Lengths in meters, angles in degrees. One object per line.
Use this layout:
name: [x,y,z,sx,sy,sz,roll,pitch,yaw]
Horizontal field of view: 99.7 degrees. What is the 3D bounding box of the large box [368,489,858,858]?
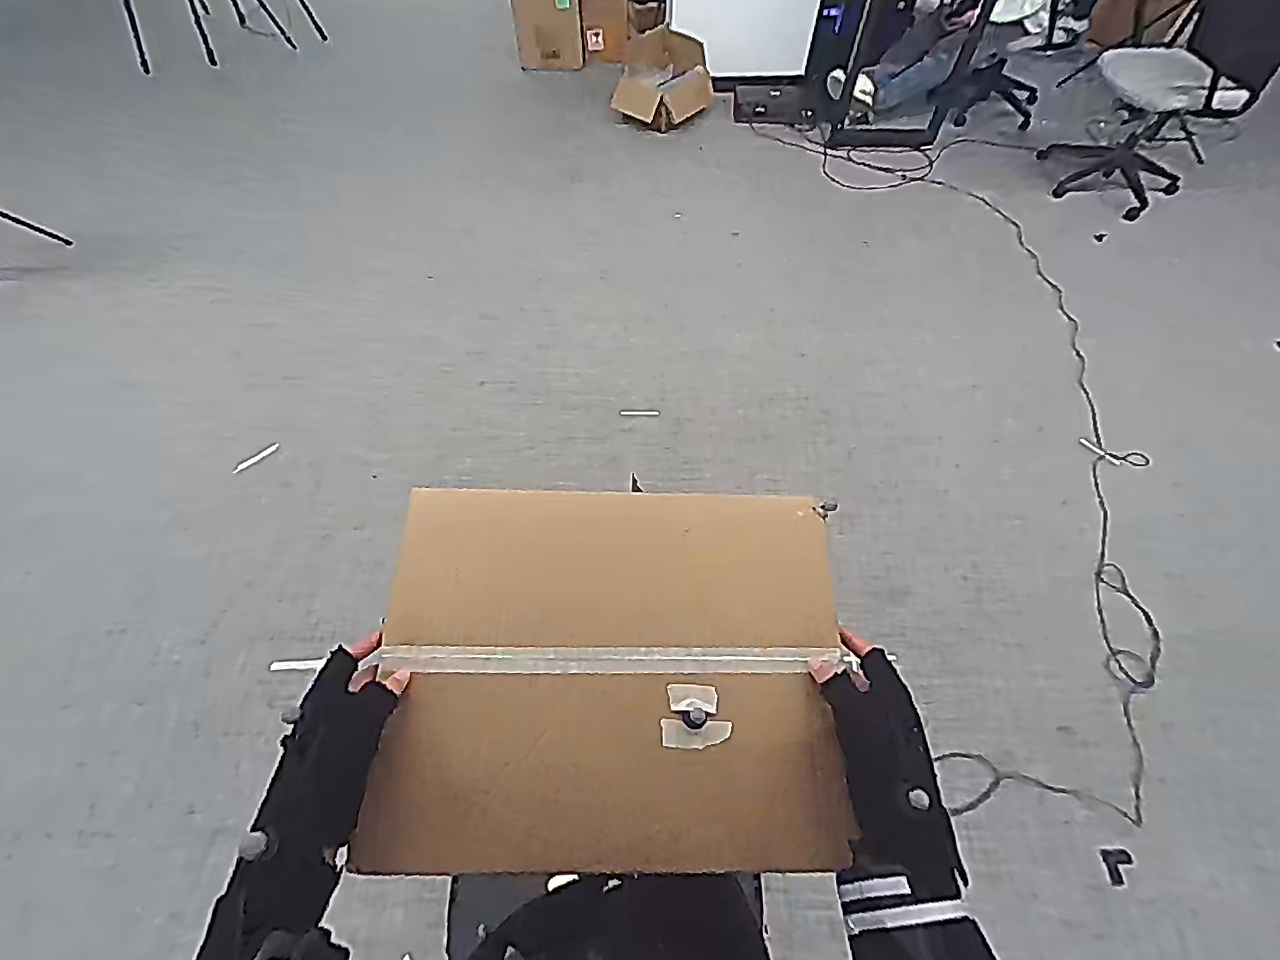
large box: [-0.028,0.211,0.626,0.408,0.320,0.320,2,68,-3]
